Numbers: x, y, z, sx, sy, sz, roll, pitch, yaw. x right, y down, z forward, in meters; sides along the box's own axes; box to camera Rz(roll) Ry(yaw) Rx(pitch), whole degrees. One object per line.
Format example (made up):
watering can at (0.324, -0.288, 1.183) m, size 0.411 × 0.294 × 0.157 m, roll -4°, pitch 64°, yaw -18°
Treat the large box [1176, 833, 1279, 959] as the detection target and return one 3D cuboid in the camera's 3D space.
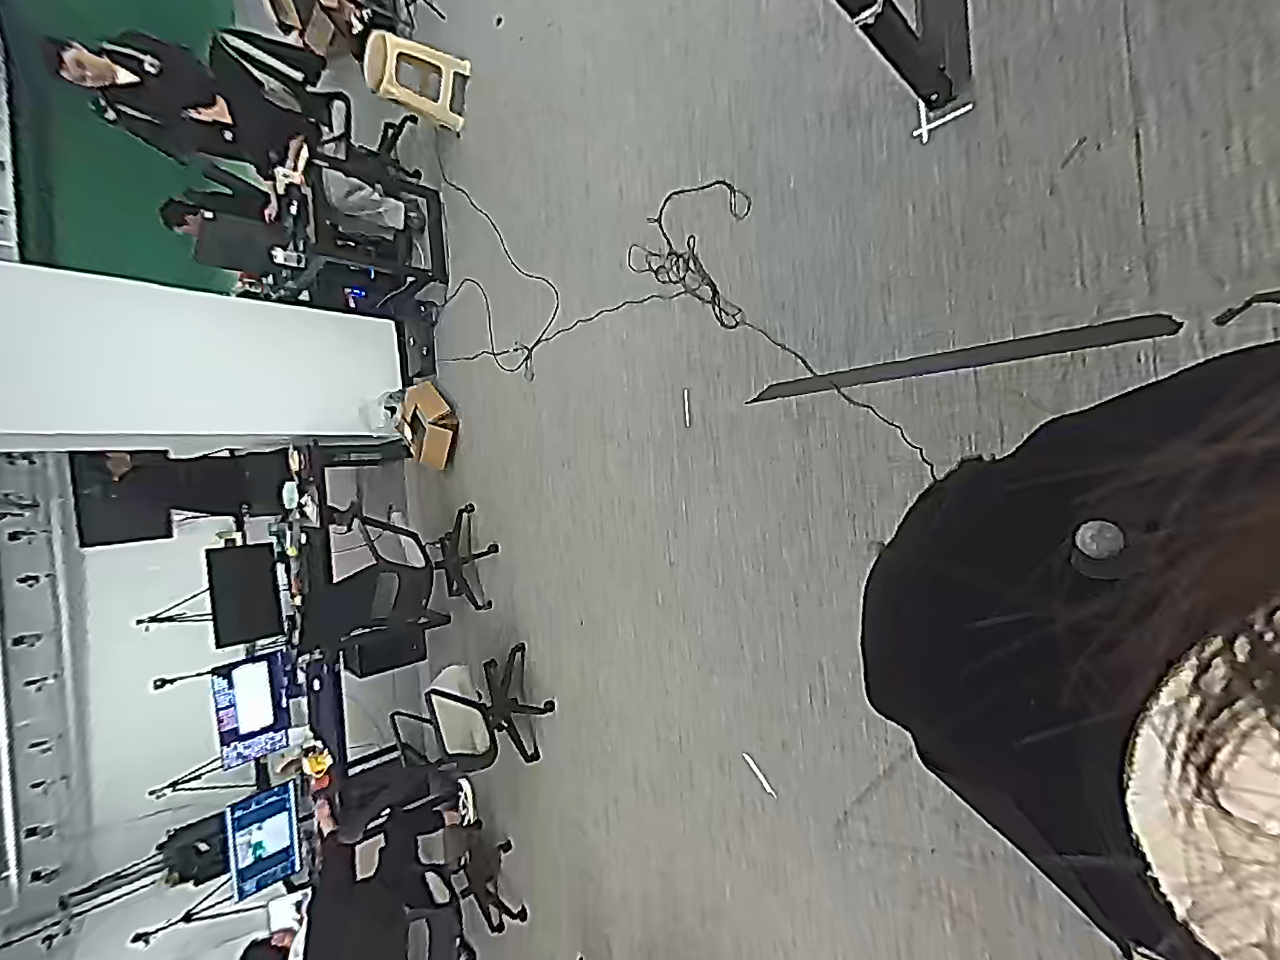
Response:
large box at (1.021, 0.762, 0.723) m, size 0.408 × 0.320 × 0.320 m, roll -8°, pitch 88°, yaw 45°
